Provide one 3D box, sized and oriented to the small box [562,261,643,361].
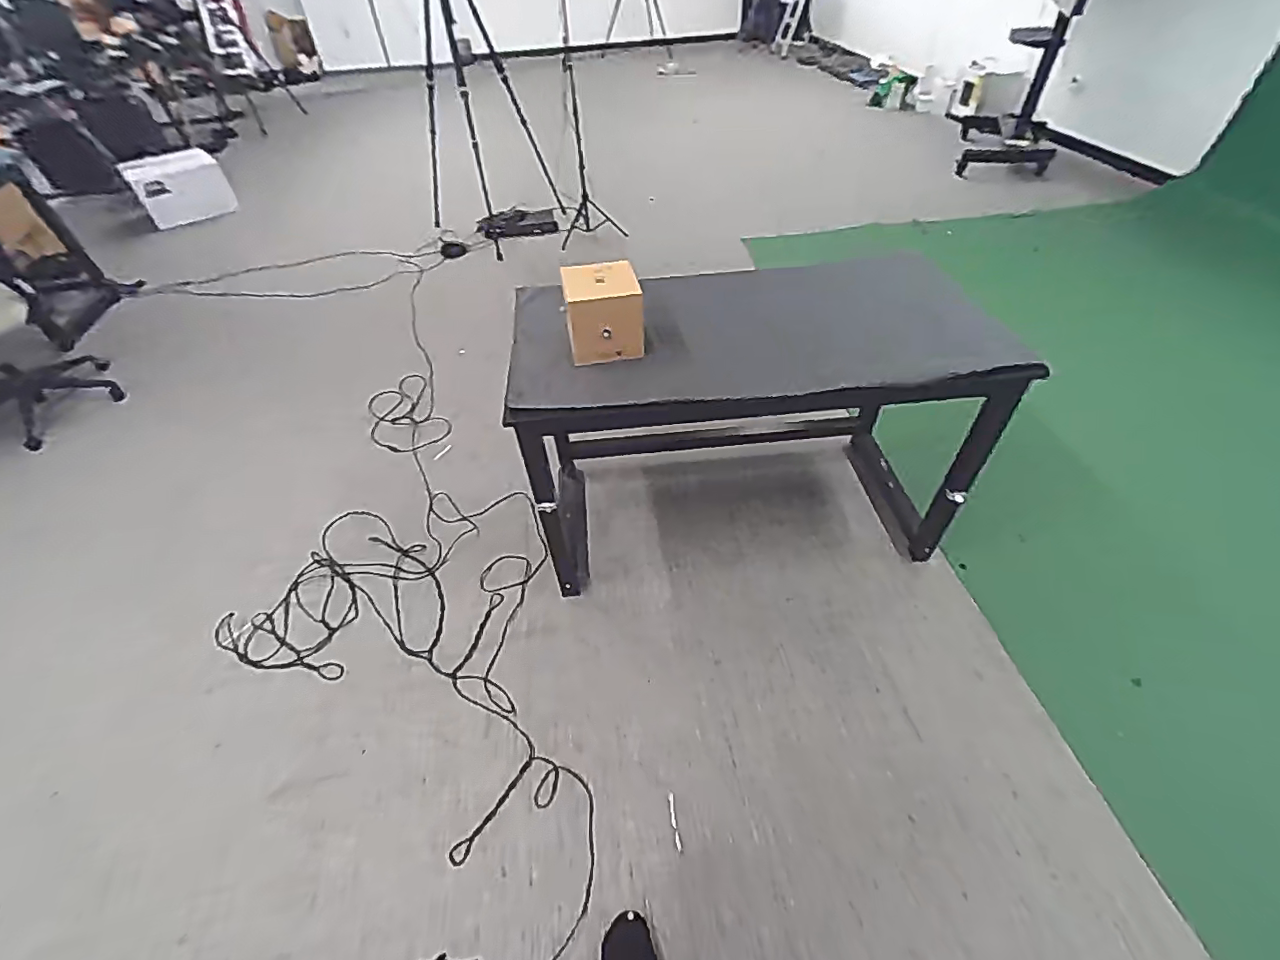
[{"bbox_3d":[-0.087,-0.396,1.285,0.168,0.176,0.179,-9,46,-7],"label":"small box"}]
